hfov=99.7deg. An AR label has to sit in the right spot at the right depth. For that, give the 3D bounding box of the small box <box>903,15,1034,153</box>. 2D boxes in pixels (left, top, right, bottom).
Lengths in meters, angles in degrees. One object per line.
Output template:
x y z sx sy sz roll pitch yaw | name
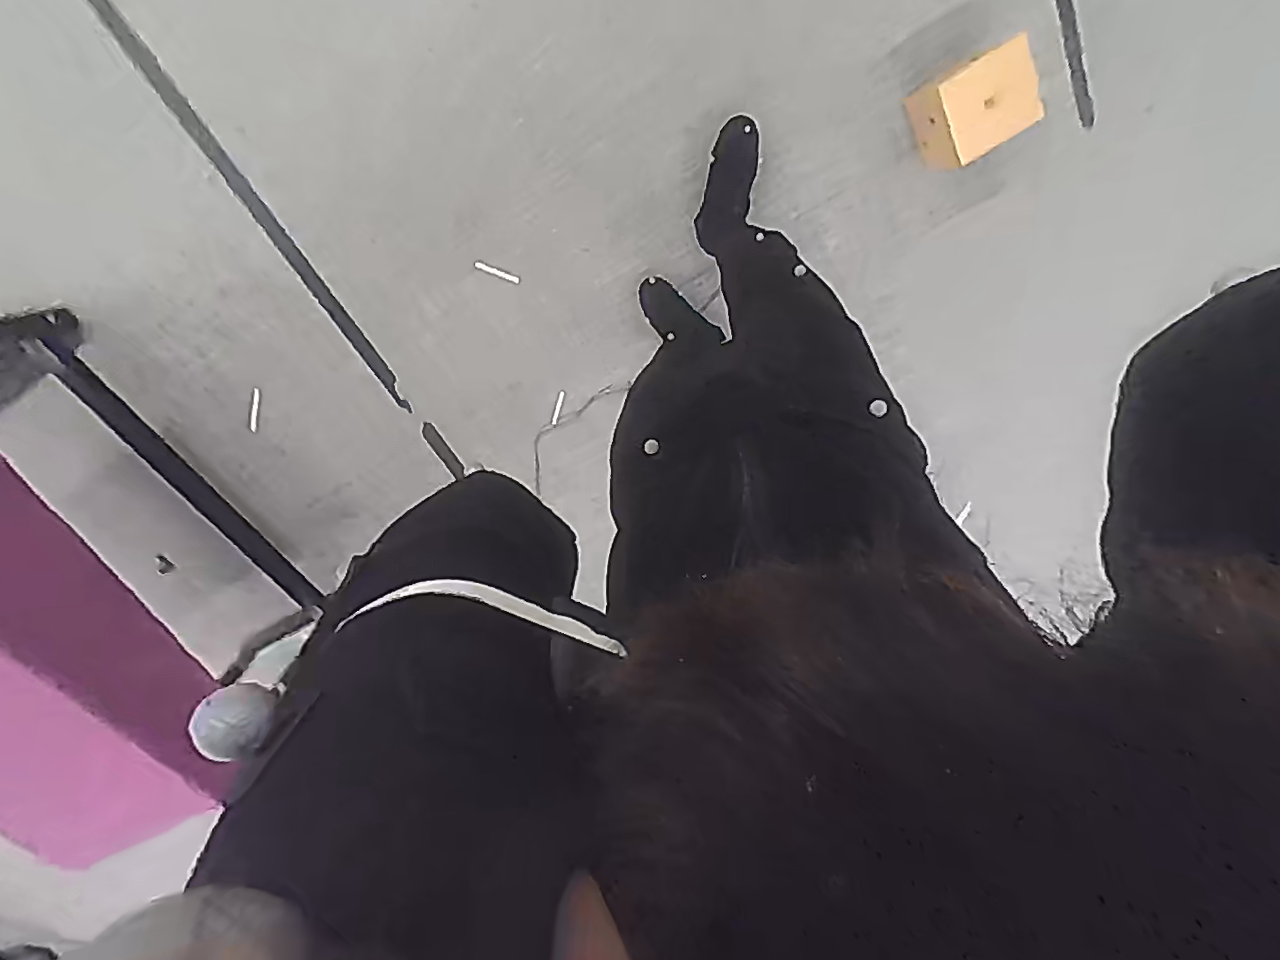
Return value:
0.696 -0.839 1.168 0.179 0.176 0.168 -28 114 13 | small box
